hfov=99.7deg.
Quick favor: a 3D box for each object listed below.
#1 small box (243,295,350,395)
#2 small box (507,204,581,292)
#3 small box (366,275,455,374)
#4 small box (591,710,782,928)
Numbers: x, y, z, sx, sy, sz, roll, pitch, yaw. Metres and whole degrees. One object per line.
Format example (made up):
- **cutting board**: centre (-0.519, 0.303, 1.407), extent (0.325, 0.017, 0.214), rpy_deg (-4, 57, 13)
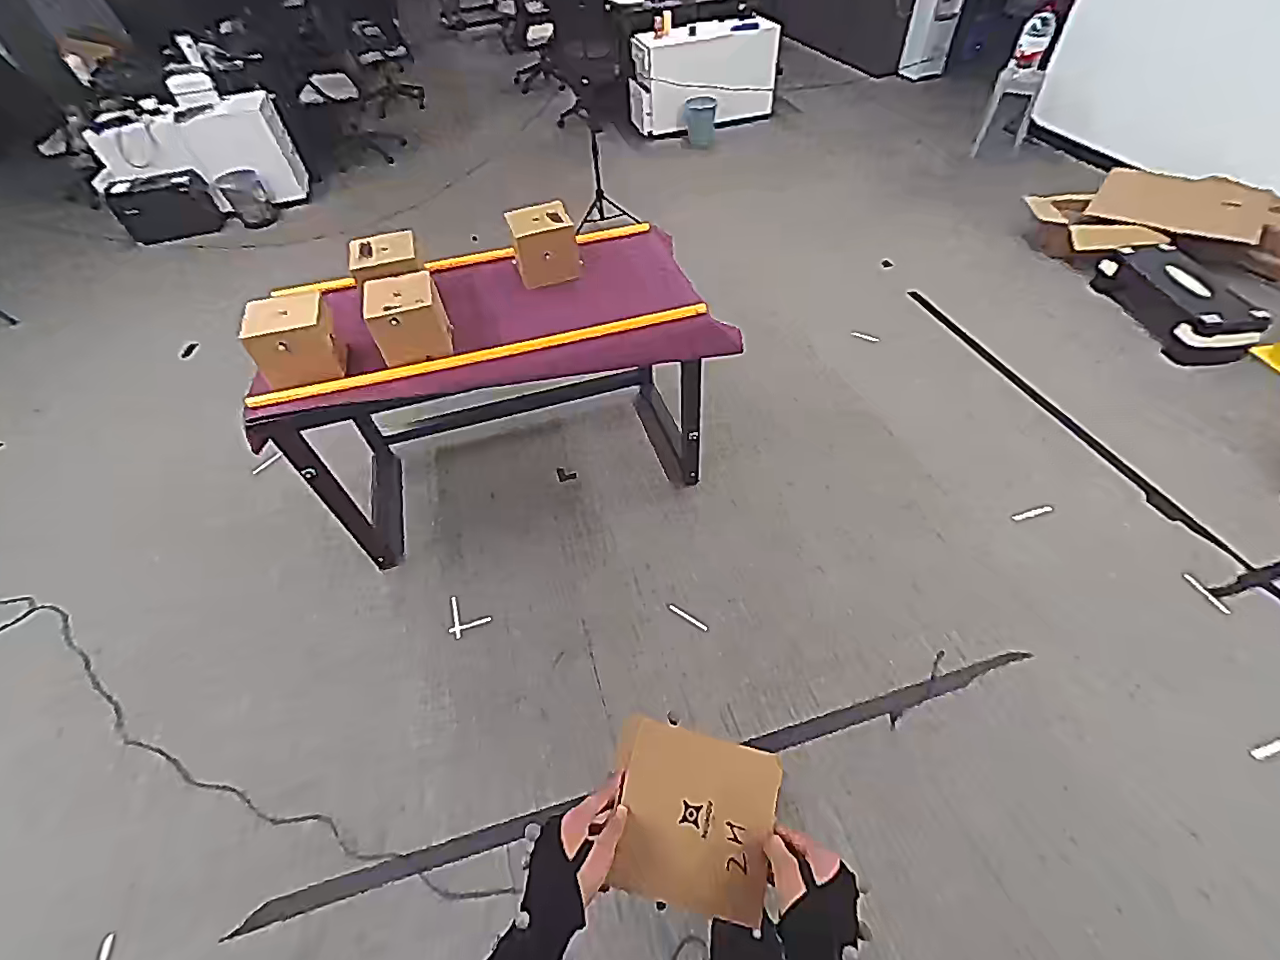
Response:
- **small box**: centre (-0.867, -0.344, 1.386), extent (0.179, 0.176, 0.168), rpy_deg (-16, 51, -9)
- **small box**: centre (-0.284, -0.696, 1.629), extent (0.179, 0.176, 0.168), rpy_deg (-18, 52, -9)
- **small box**: centre (-0.595, -0.406, 1.416), extent (0.168, 0.176, 0.179), rpy_deg (-16, 50, -7)
- **small box**: centre (0.047, 0.390, 0.652), extent (0.179, 0.176, 0.168), rpy_deg (18, 66, -1)
